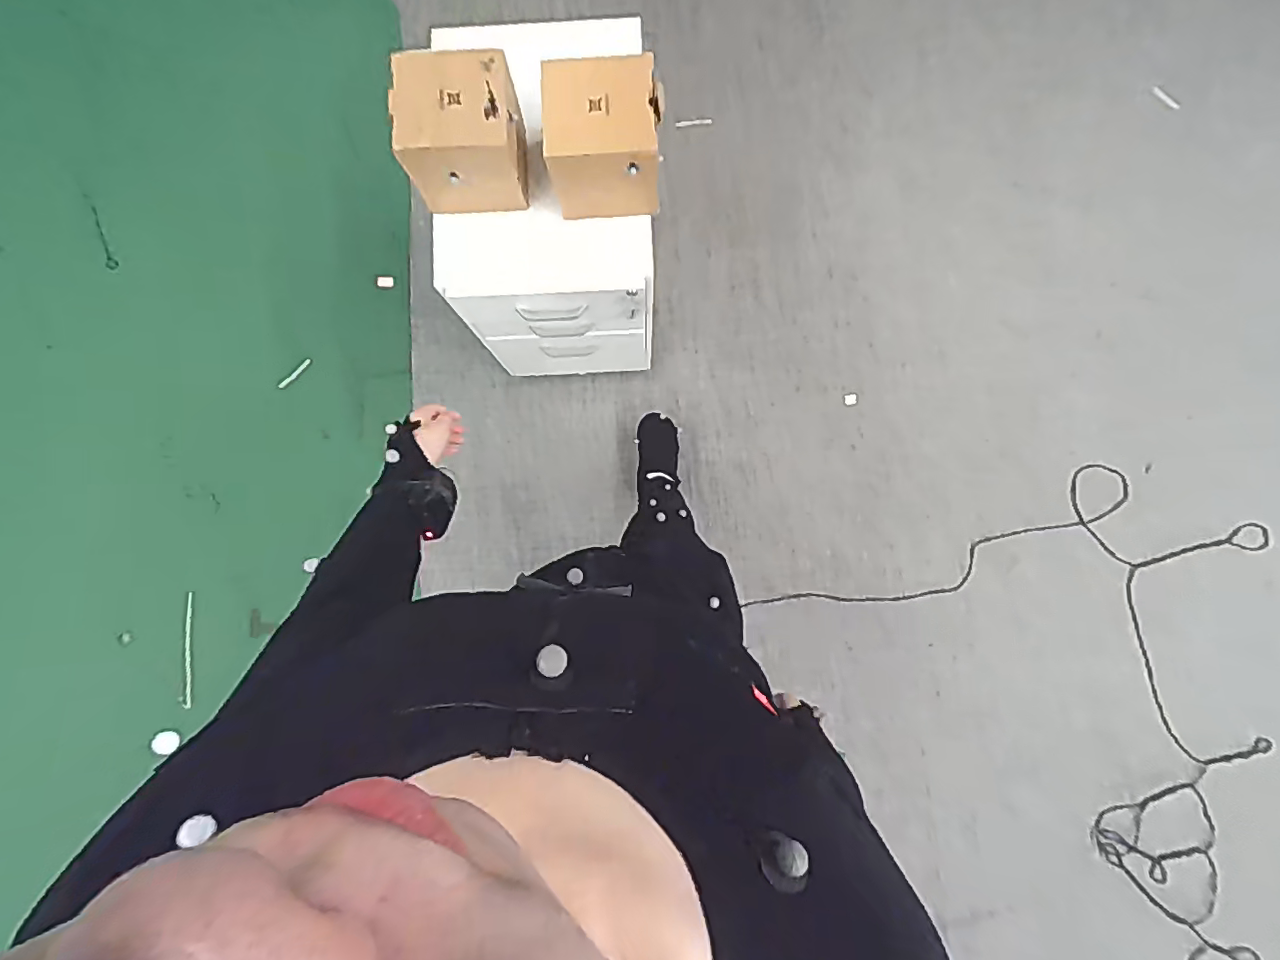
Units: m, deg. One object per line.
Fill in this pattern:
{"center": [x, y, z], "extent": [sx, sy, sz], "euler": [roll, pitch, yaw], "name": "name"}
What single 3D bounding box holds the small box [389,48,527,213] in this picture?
{"center": [-0.295, -0.570, 0.902], "extent": [0.179, 0.176, 0.168], "euler": [-3, 85, 0], "name": "small box"}
